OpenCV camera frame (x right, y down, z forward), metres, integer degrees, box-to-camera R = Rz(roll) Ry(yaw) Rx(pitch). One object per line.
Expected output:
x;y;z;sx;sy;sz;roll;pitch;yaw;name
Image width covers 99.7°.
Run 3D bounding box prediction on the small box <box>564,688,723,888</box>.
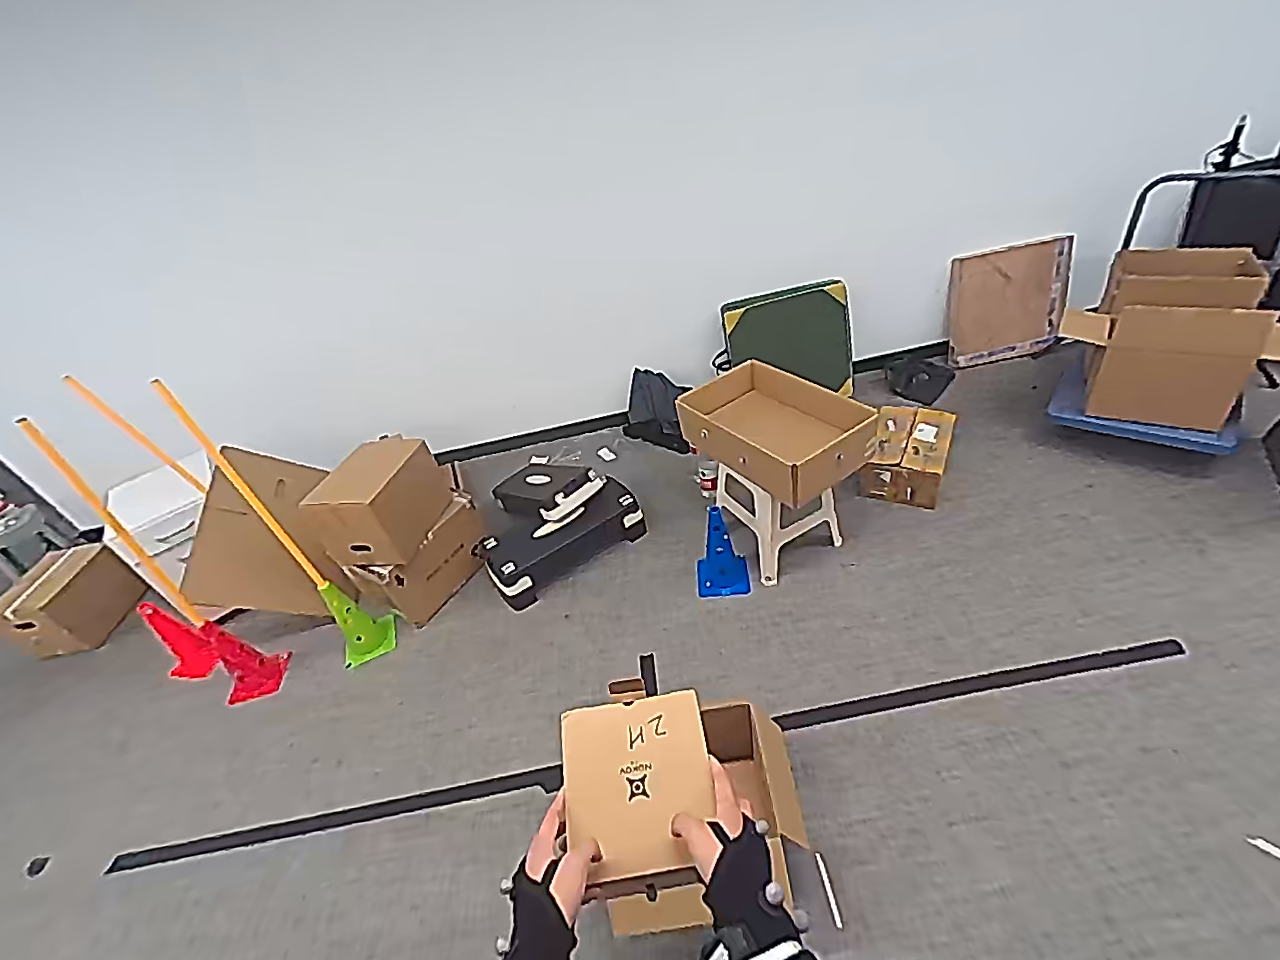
0.004;0.381;0.662;0.168;0.176;0.179;-8;48;-1;small box
